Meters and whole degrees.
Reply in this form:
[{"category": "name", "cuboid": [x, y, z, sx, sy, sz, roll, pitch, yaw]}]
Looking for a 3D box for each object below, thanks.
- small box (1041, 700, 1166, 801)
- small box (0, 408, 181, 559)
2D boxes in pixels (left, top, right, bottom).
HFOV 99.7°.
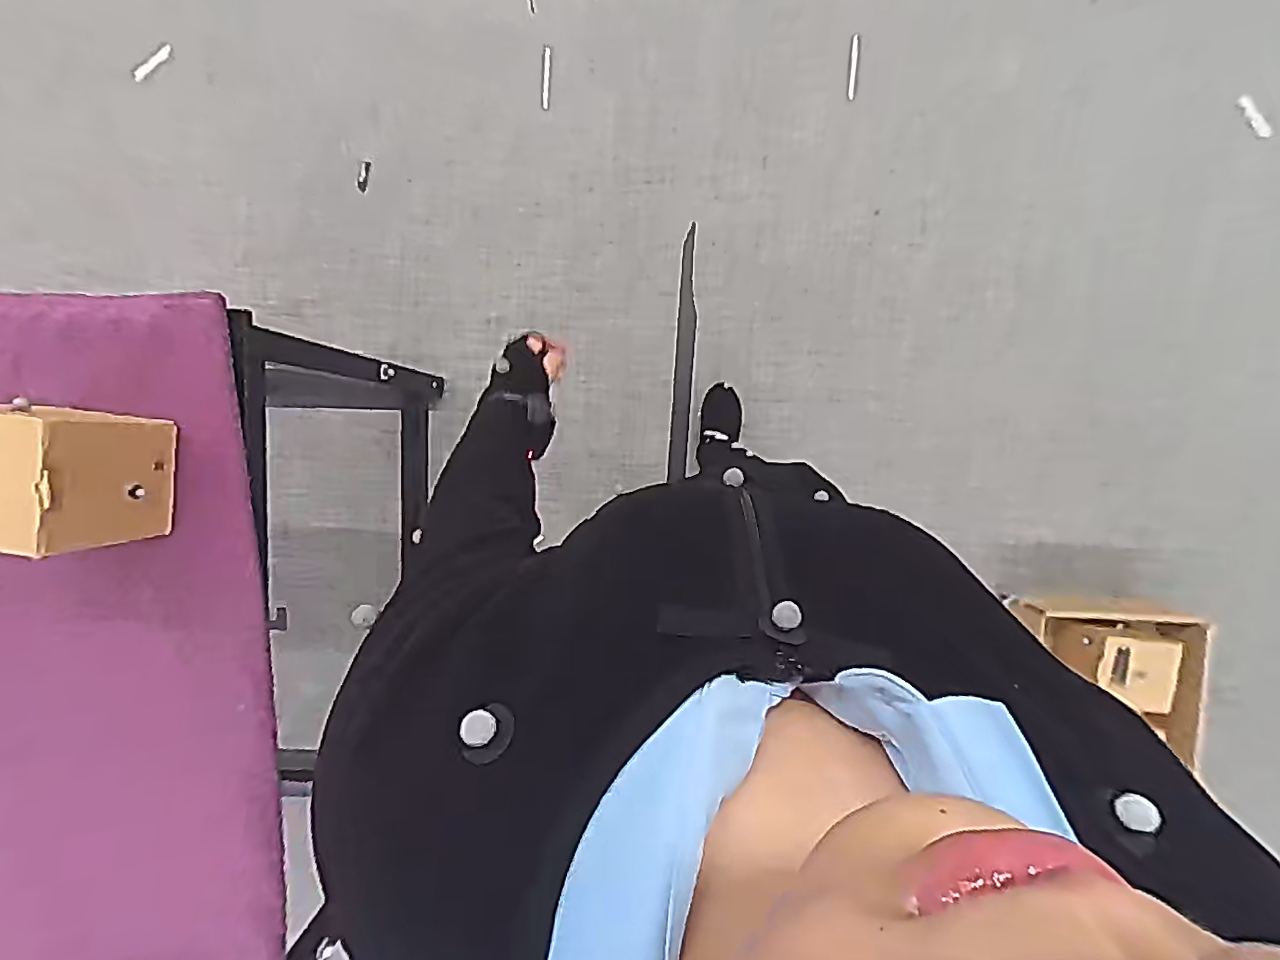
[{"category": "small box", "cuboid": [1.150, 0.668, 1.354, 0.179, 0.176, 0.168, 1, 94, 3]}, {"category": "small box", "cuboid": [-0.765, -0.003, 0.711, 0.179, 0.176, 0.168, 7, 94, 3]}]
